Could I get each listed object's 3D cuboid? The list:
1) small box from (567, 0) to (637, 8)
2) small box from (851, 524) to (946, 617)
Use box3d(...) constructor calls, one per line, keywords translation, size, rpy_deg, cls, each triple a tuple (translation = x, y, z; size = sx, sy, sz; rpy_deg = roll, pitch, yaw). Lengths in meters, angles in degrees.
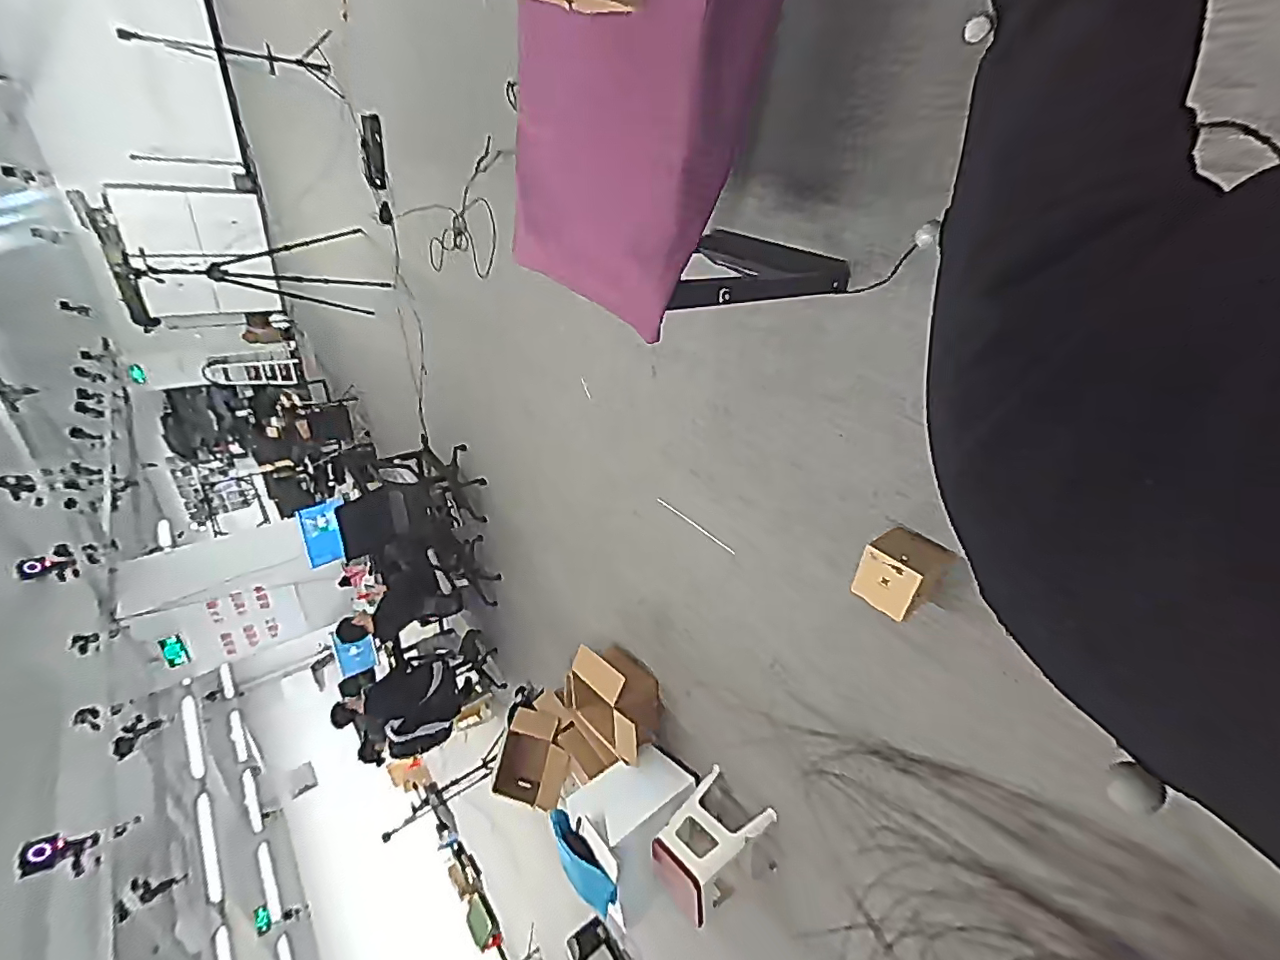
box3d(translation=(-0.092, -0.925, 0.913), size=(0.179, 0.176, 0.168), rpy_deg=(39, 133, 38), cls="small box")
box3d(translation=(0.750, 0.257, 1.567), size=(0.168, 0.176, 0.179), rpy_deg=(36, 132, 39), cls="small box")
